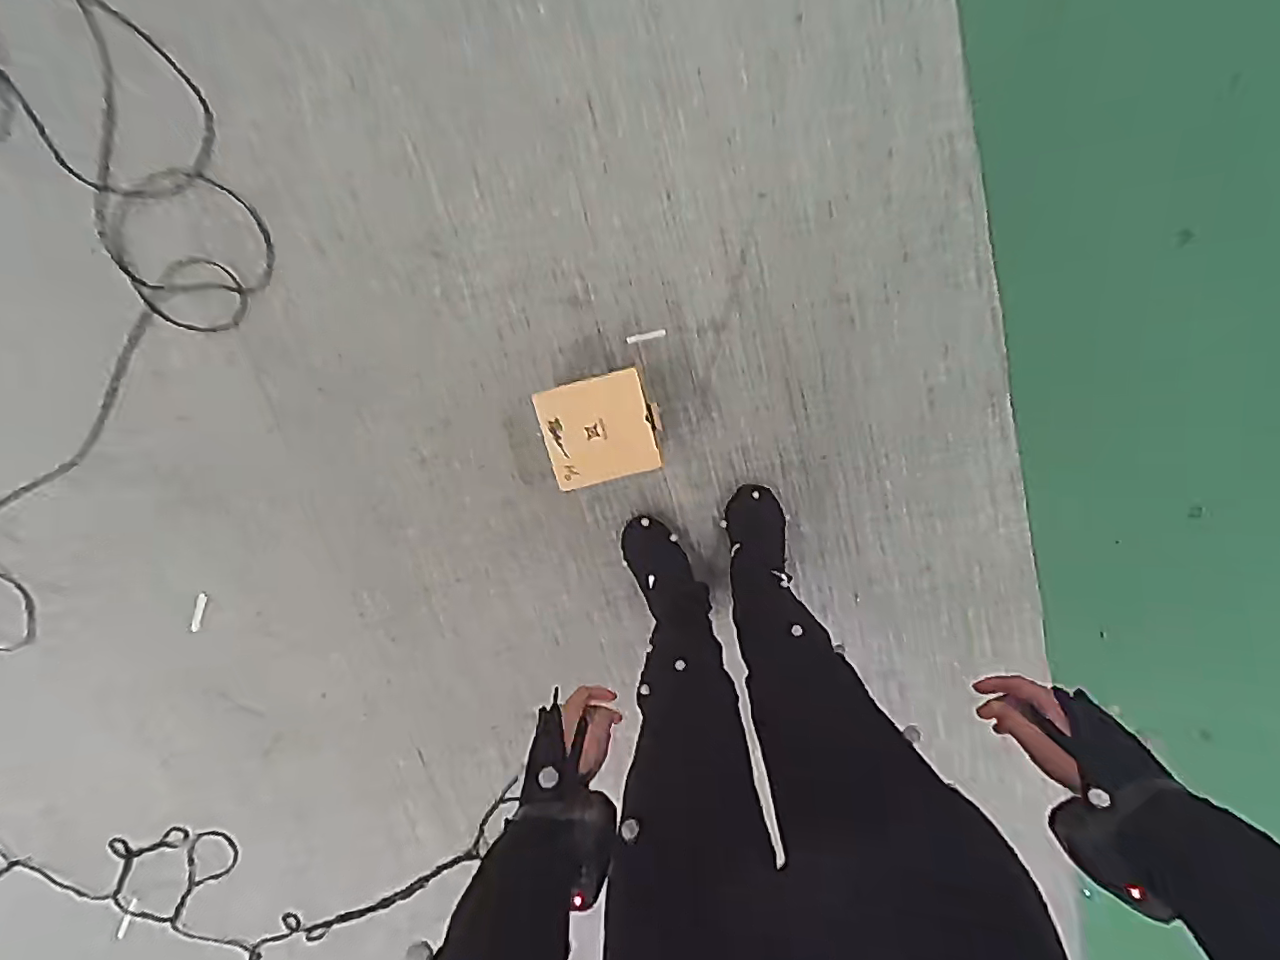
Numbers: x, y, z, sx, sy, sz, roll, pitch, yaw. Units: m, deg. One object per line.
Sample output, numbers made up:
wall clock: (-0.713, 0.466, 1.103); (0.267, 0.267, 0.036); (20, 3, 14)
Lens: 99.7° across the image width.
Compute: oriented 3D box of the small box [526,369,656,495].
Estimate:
small box: (-0.078, -0.091, 0.935); (0.179, 0.176, 0.168); (-14, 103, 4)
